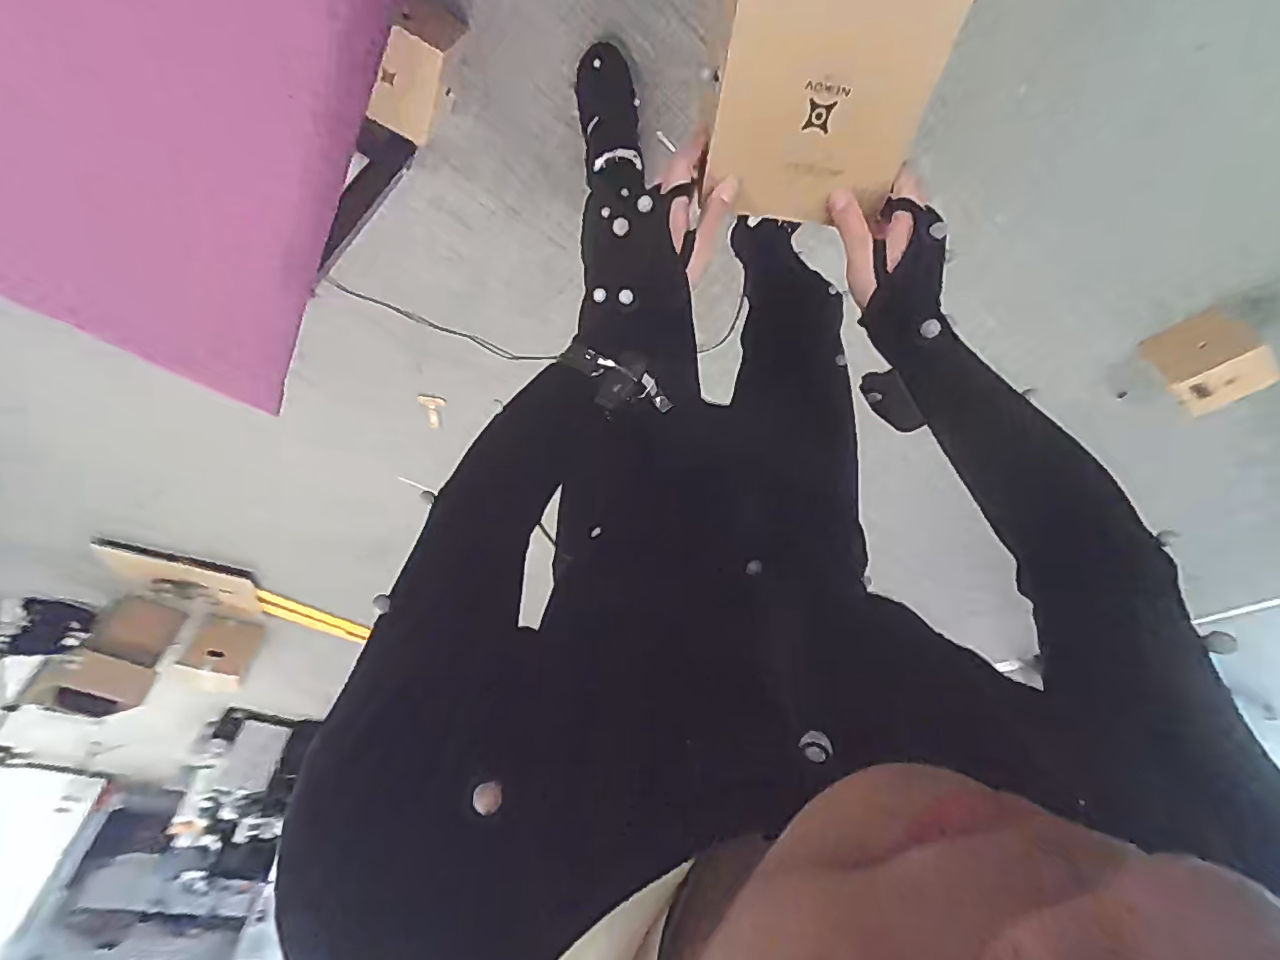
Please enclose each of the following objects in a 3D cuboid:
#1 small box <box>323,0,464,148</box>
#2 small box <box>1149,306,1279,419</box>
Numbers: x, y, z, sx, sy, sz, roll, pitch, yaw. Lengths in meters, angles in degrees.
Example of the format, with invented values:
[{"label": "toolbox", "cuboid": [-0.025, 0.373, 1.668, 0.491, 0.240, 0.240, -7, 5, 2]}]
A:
[{"label": "small box", "cuboid": [-0.432, -0.745, 0.962, 0.179, 0.176, 0.168, 22, 137, -20]}, {"label": "small box", "cuboid": [1.424, -0.292, 1.344, 0.168, 0.176, 0.179, 29, 134, -28]}]
